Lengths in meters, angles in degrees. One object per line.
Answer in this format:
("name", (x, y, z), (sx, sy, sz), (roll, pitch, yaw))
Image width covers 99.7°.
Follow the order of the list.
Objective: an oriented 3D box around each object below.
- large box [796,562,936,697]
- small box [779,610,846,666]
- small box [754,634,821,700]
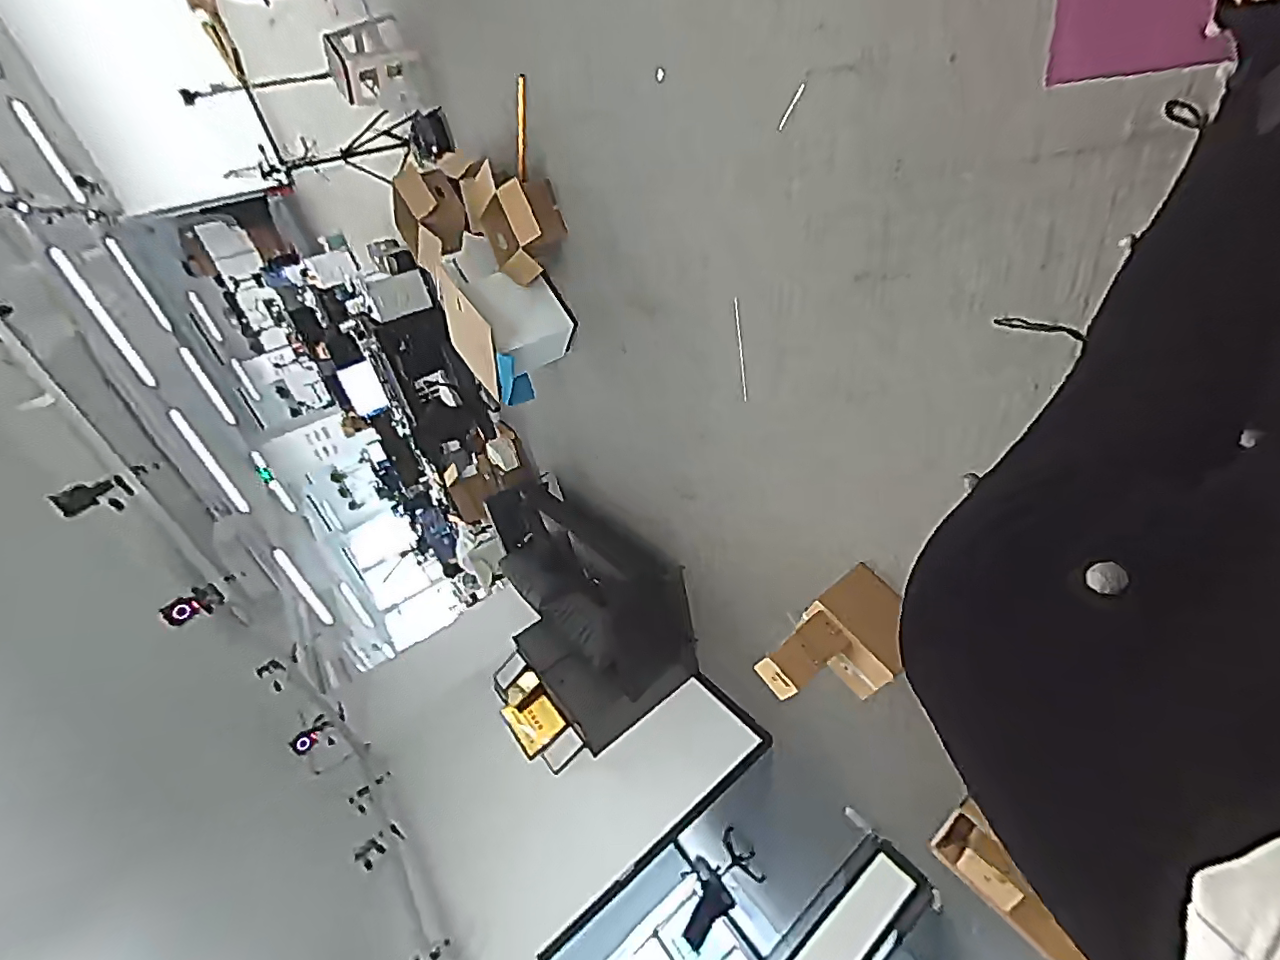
("large box", (0.958, 0.639, 2.336), (0.408, 0.320, 0.320), (45, 152, 26))
("small box", (0.716, 0.670, 2.238), (0.168, 0.176, 0.179), (49, 151, 20))
("small box", (0.592, 0.744, 2.159), (0.168, 0.176, 0.179), (49, 152, 20))
